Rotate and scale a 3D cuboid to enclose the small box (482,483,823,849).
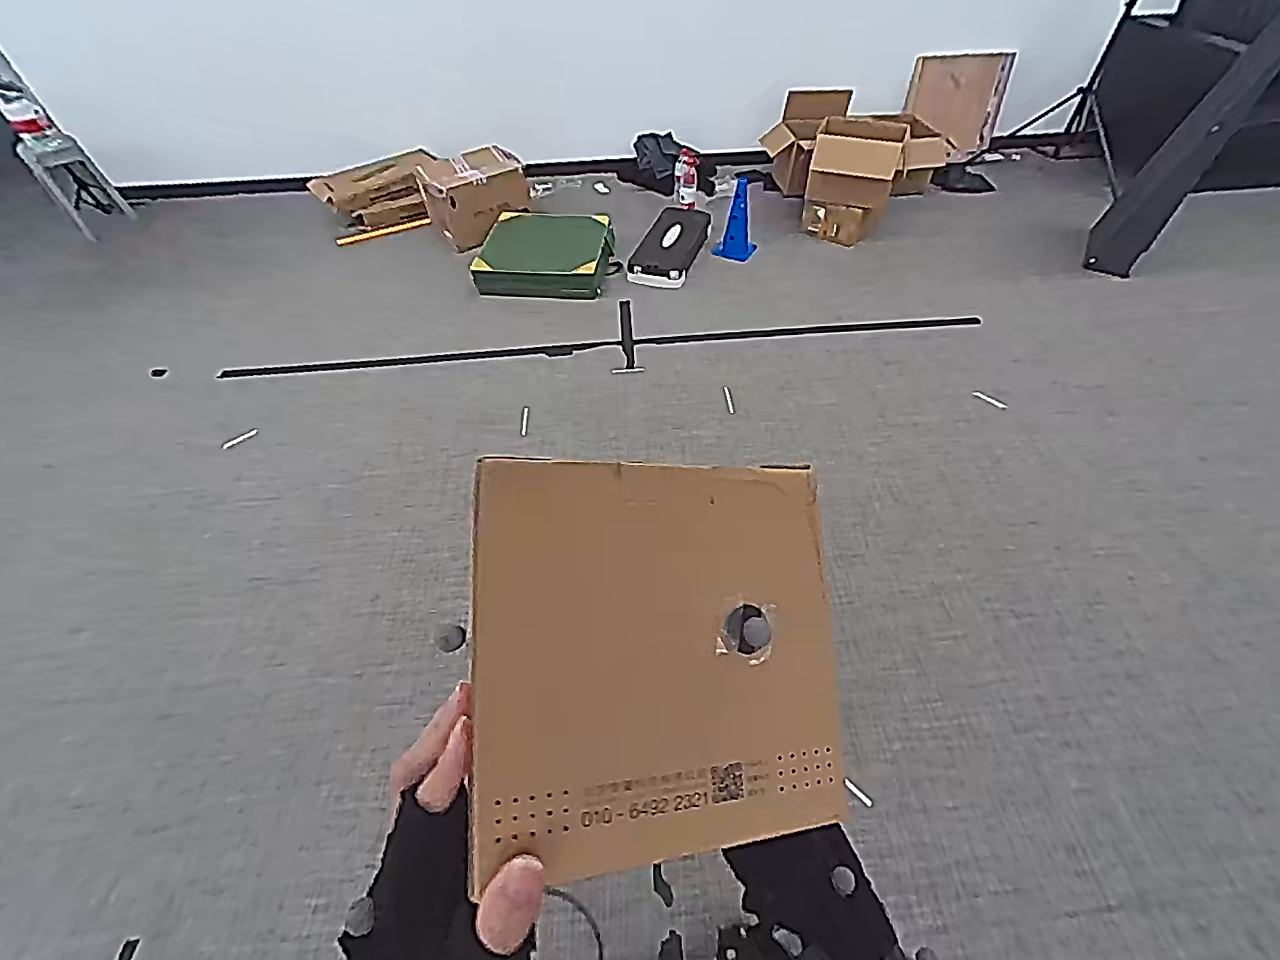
[{"bbox_3d":[-0.008,0.098,0.332,0.168,0.179,0.176,2,79,-19],"label":"small box"}]
